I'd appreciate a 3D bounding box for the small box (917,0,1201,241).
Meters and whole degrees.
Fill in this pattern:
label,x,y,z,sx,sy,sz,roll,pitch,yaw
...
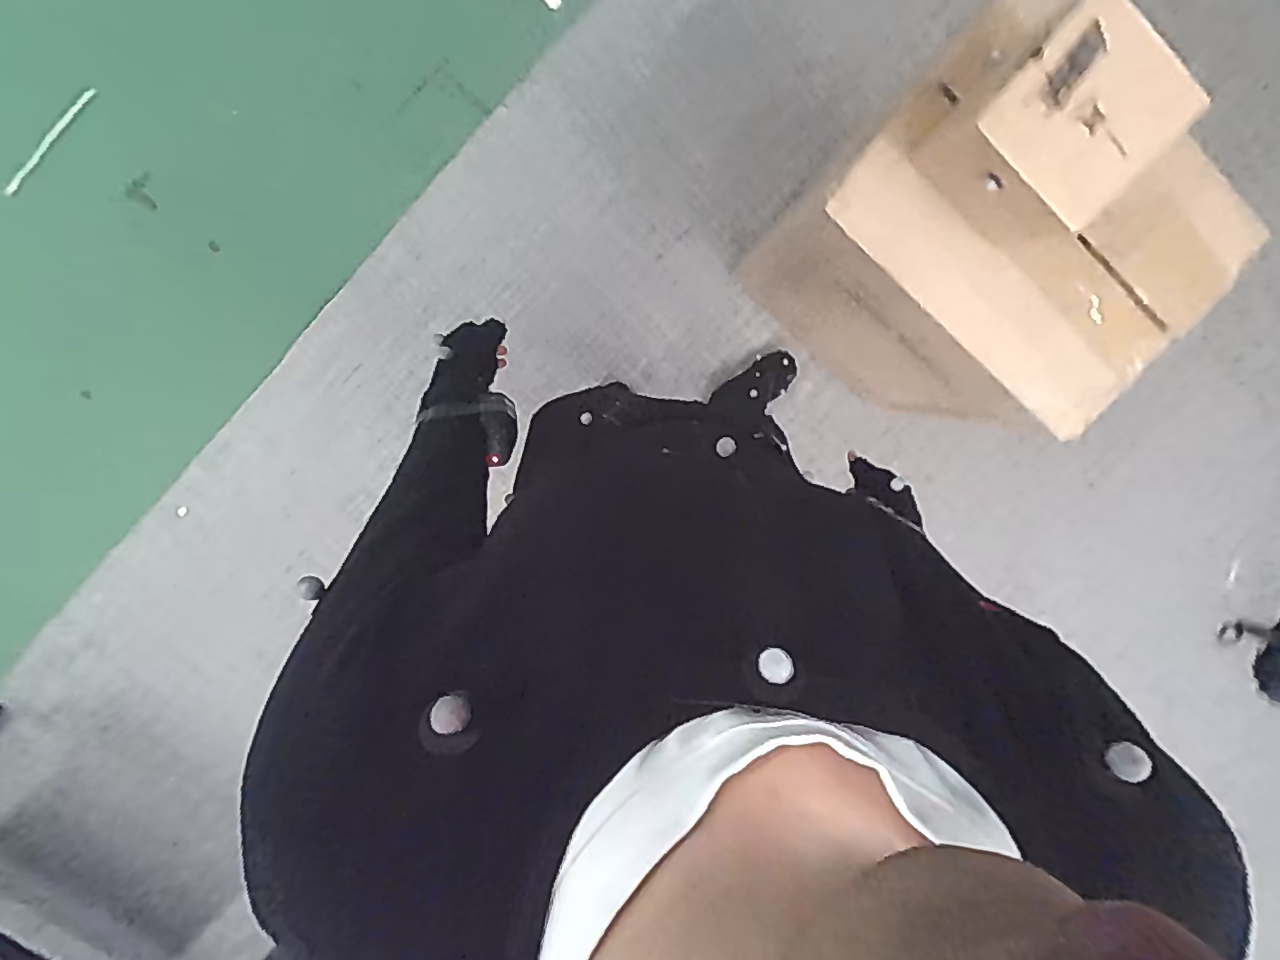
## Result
label,x,y,z,sx,sy,sz,roll,pitch,yaw
small box,0.477,-0.412,0.650,0.179,0.176,0.168,39,107,-10
